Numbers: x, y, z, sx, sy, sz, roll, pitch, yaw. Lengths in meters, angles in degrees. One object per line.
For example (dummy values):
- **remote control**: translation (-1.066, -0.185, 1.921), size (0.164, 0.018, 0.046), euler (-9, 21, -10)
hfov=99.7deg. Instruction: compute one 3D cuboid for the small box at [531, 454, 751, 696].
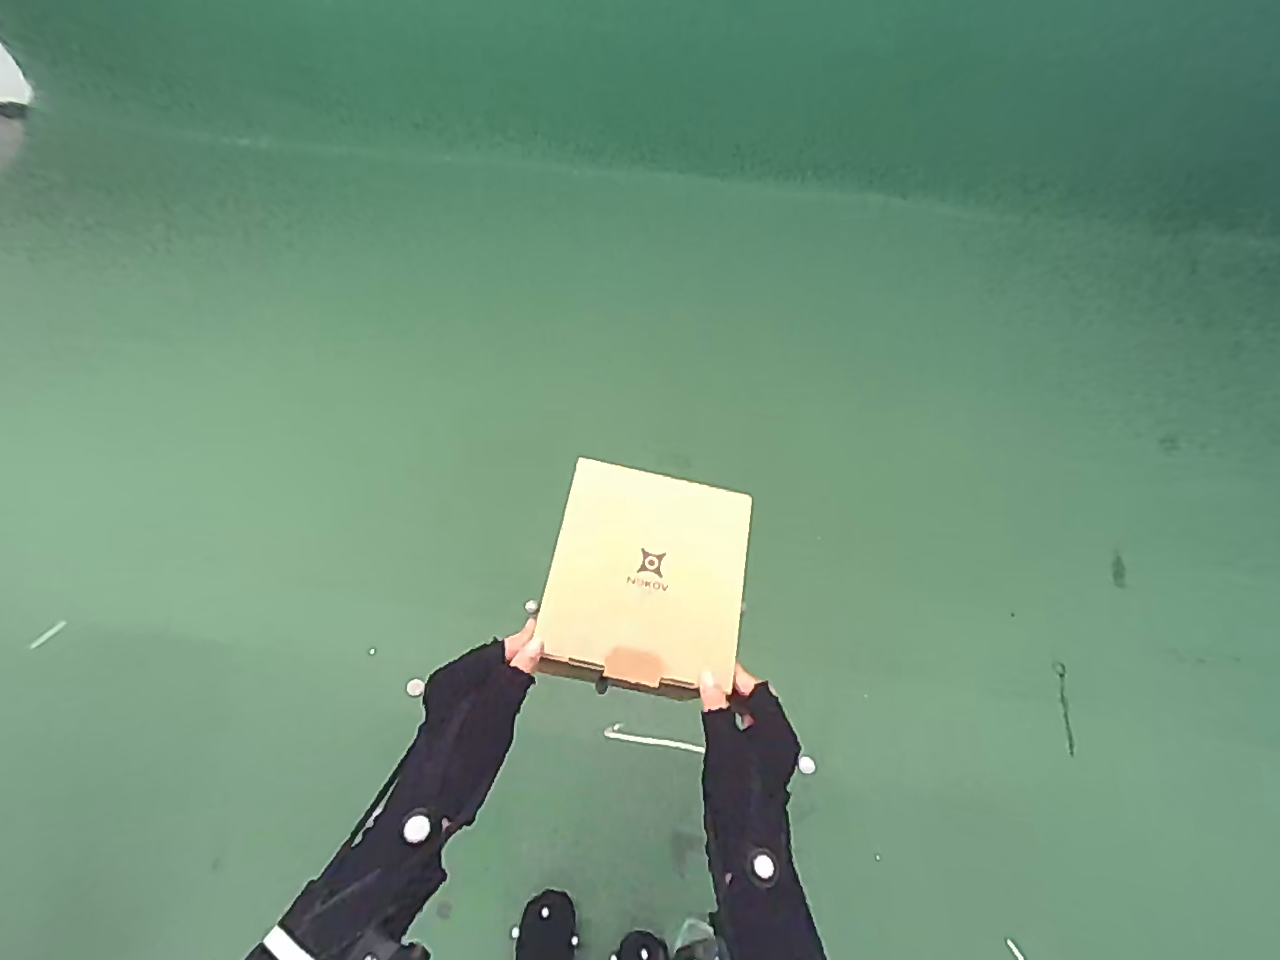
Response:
- **small box**: translation (-0.004, 0.103, 0.529), size (0.168, 0.176, 0.179), euler (13, 66, -3)
